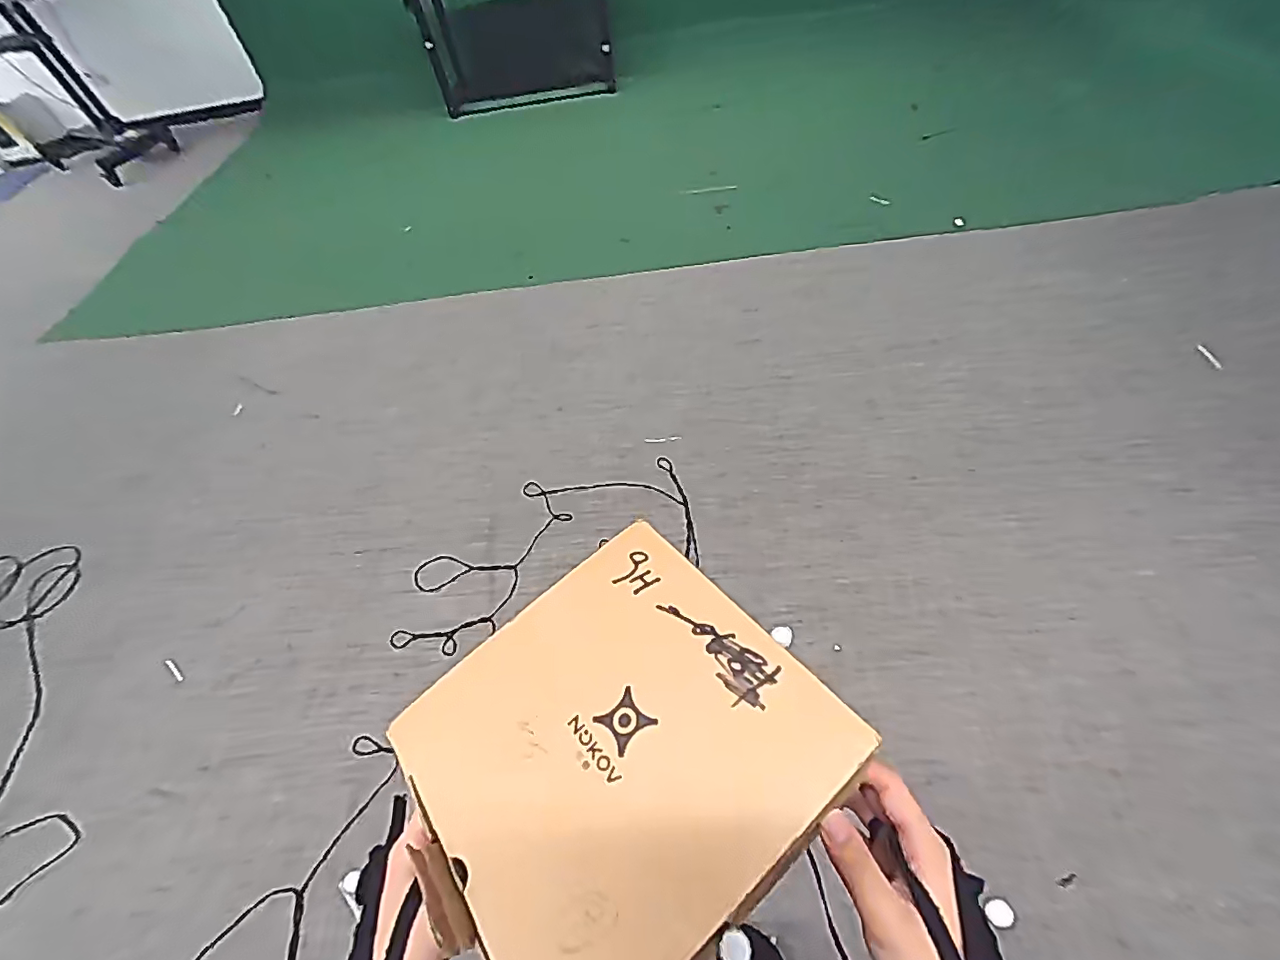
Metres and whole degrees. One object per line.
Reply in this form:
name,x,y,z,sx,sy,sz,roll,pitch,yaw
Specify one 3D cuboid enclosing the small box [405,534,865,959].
small box,0.005,0.174,0.323,0.179,0.176,0.168,-39,53,-15
